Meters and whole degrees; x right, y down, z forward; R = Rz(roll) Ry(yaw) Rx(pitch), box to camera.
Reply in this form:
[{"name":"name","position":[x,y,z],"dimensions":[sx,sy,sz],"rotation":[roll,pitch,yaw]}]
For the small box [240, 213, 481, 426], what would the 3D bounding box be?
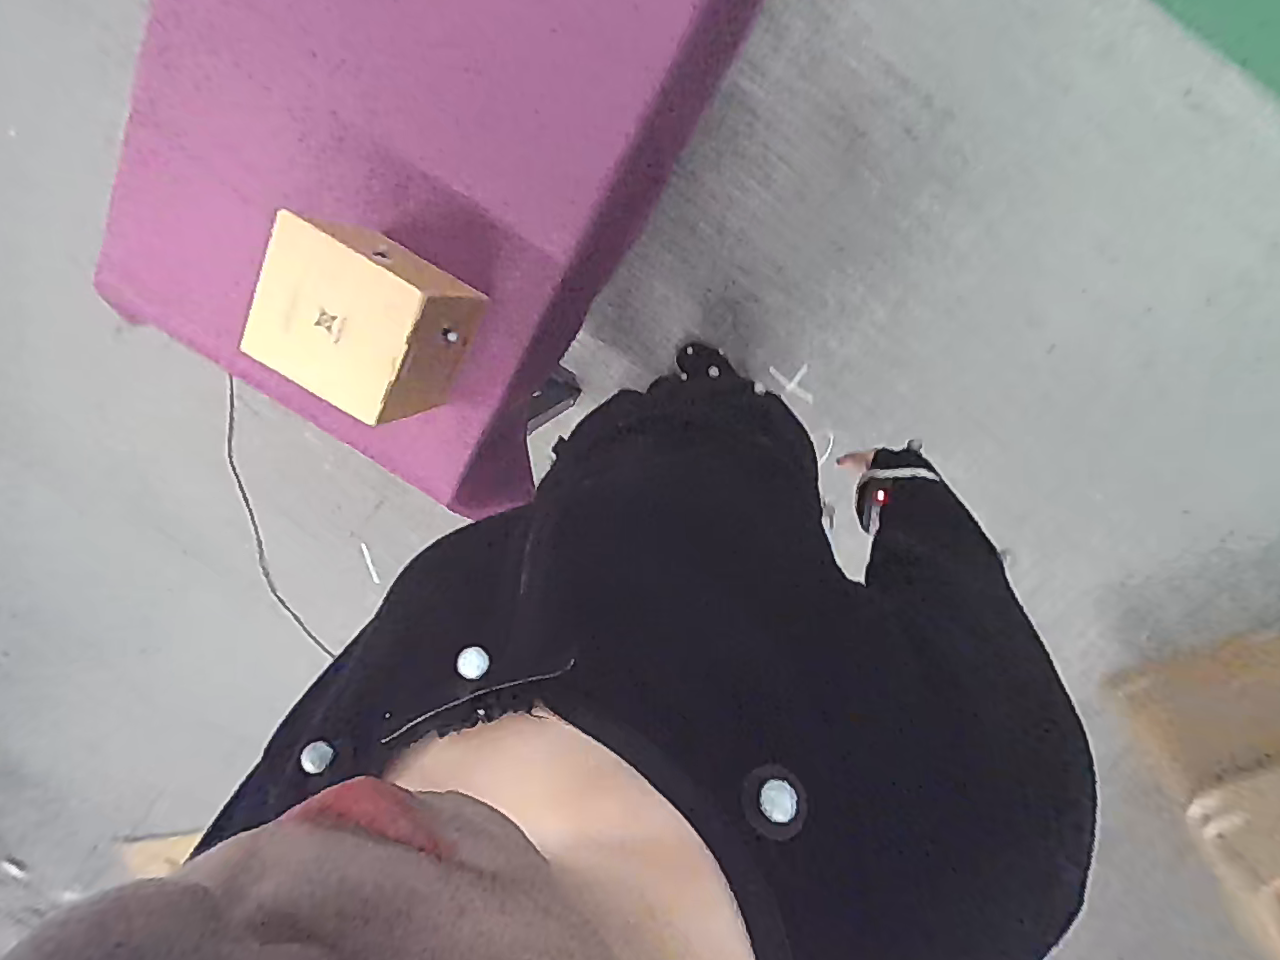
[{"name":"small box","position":[-0.324,-0.192,0.658],"dimensions":[0.179,0.176,0.168],"rotation":[31,108,-1]}]
